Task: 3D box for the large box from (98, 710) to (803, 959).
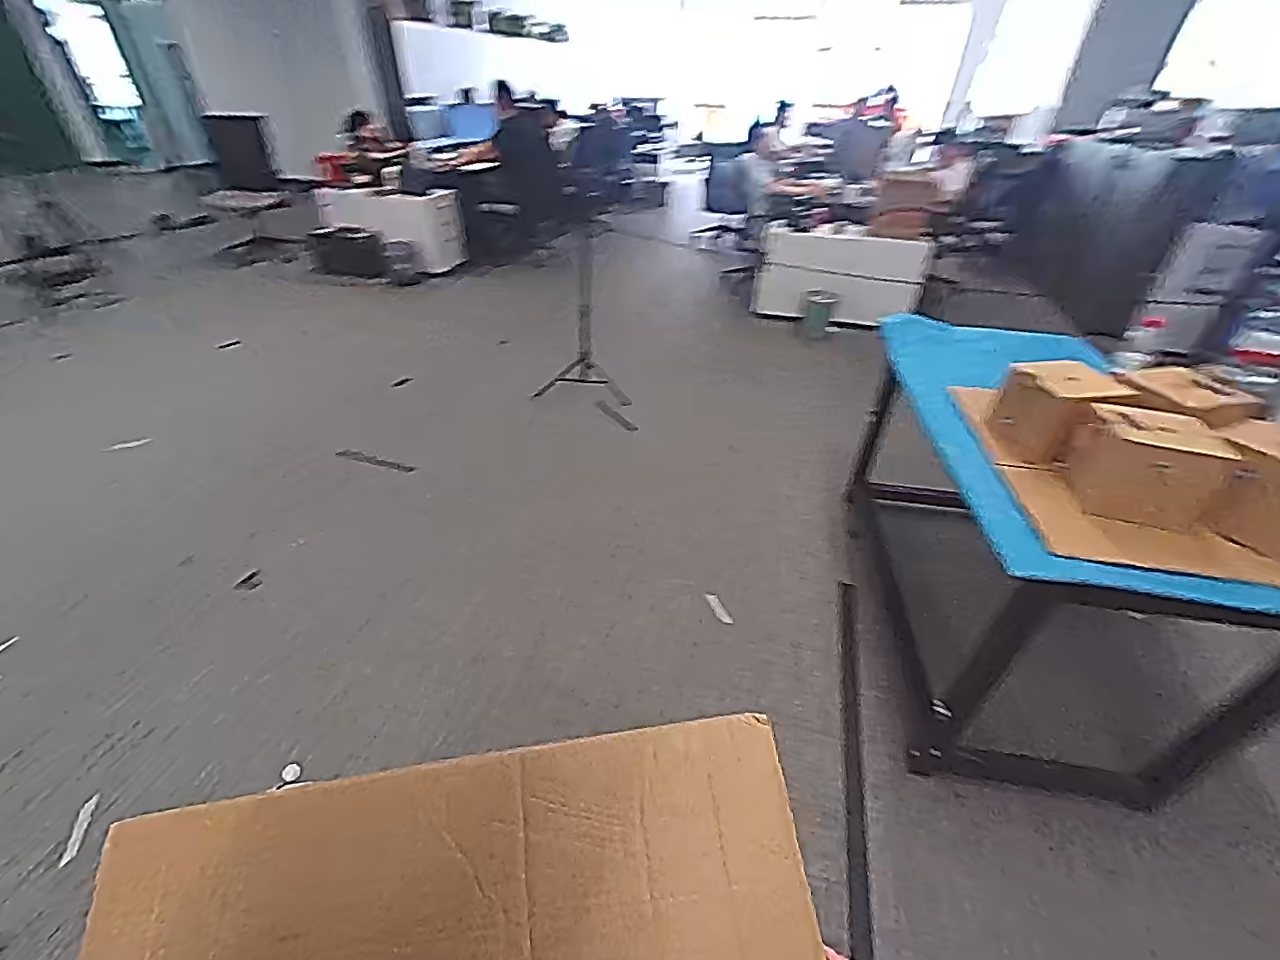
[{"bbox_3d":[-0.104,0.389,0.424,0.408,0.320,0.320,-8,67,-7],"label":"large box"}]
